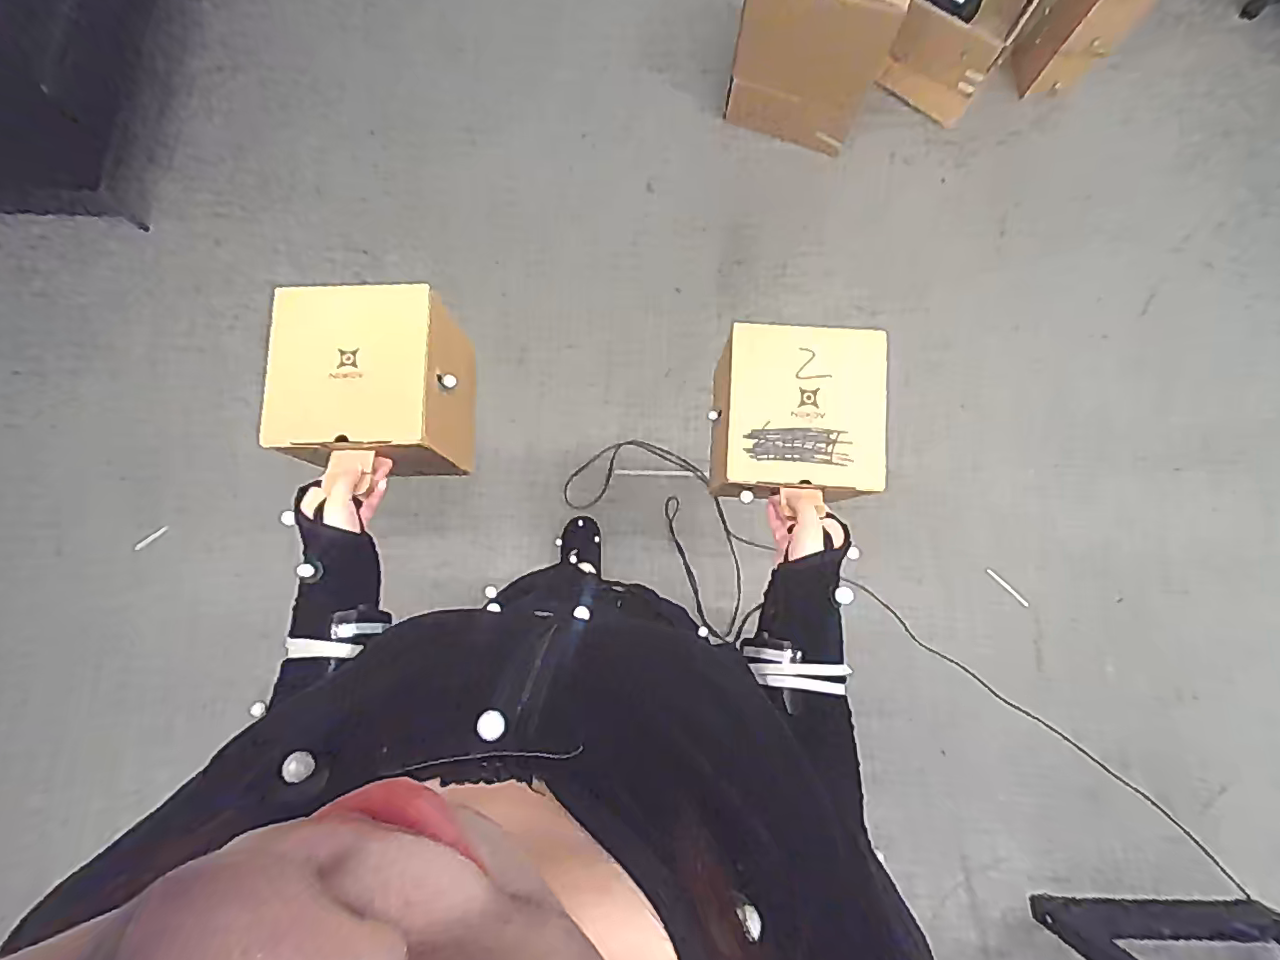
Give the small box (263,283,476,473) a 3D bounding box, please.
[{"bbox_3d":[-0.298,-0.110,0.636,0.168,0.176,0.179,-1,81,-1],"label":"small box"}]
